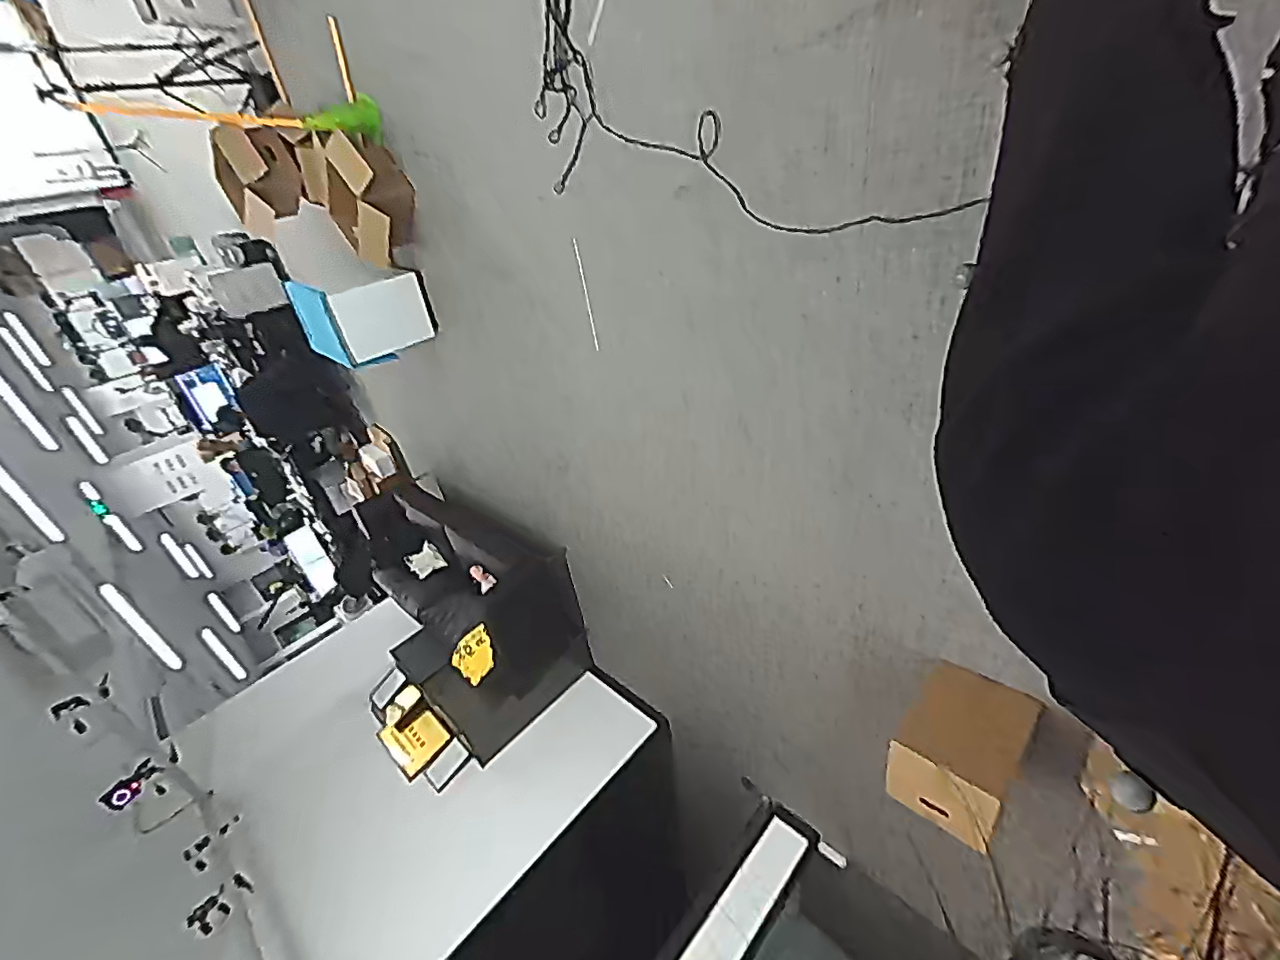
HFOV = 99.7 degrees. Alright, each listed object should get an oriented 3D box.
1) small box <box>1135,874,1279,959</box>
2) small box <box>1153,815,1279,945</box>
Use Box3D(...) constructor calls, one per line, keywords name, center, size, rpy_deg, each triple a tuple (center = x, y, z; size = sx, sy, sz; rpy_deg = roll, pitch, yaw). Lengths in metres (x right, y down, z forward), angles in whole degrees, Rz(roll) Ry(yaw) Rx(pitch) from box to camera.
Box3D(name="small box", center=(1.150, 0.949, 1.081), size=(0.179, 0.176, 0.168), rpy_deg=(55, 145, 0))
Box3D(name="small box", center=(1.267, 0.876, 1.168), size=(0.179, 0.176, 0.168), rpy_deg=(57, 146, -2))
